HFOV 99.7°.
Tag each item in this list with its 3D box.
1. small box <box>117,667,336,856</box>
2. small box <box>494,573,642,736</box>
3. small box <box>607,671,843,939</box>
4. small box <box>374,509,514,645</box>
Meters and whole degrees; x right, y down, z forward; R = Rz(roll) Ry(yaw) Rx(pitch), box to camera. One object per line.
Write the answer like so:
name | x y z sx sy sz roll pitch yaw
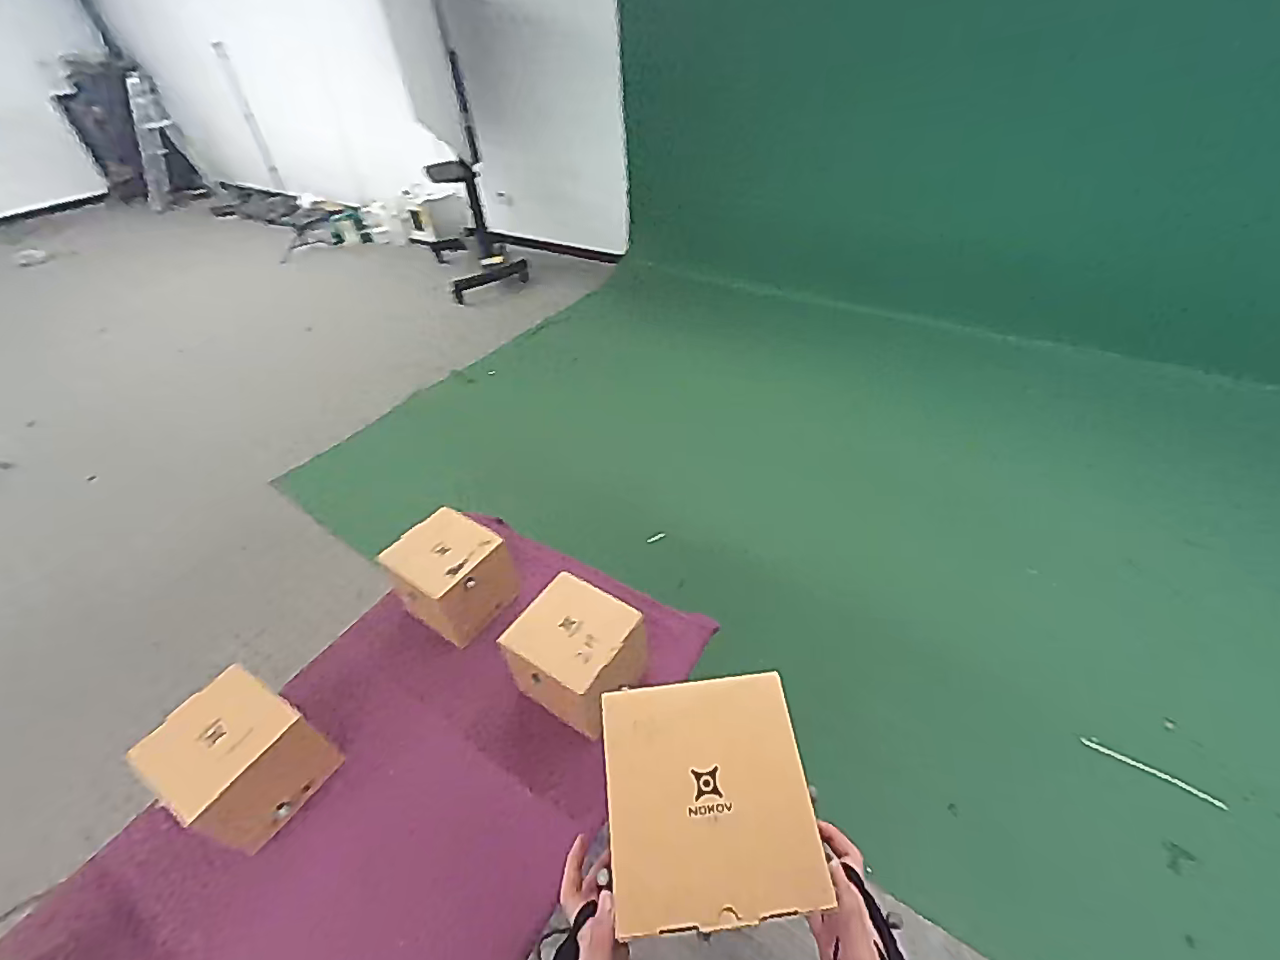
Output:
small box | -0.611 0.426 0.819 0.179 0.176 0.168 21 48 24
small box | -0.113 0.296 0.917 0.179 0.176 0.168 23 50 27
small box | 0.059 0.295 0.496 0.168 0.176 0.179 -6 54 -2
small box | -0.376 0.192 1.061 0.179 0.176 0.168 22 49 27
